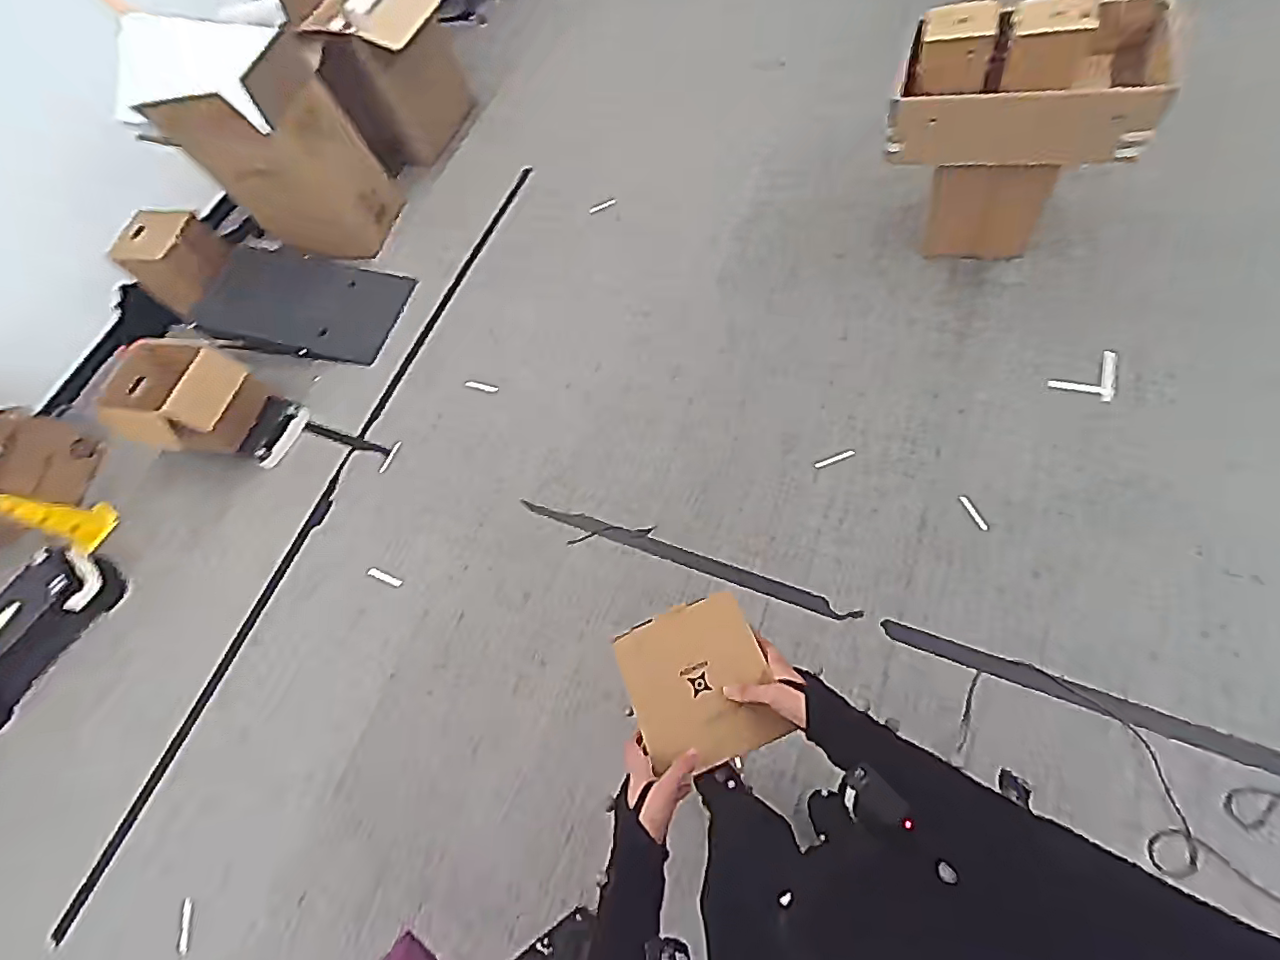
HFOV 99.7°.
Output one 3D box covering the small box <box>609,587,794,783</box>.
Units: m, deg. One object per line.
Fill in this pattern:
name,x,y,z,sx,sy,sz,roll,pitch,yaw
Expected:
small box,0.074,0.266,0.694,0.168,0.176,0.179,-22,62,-3
